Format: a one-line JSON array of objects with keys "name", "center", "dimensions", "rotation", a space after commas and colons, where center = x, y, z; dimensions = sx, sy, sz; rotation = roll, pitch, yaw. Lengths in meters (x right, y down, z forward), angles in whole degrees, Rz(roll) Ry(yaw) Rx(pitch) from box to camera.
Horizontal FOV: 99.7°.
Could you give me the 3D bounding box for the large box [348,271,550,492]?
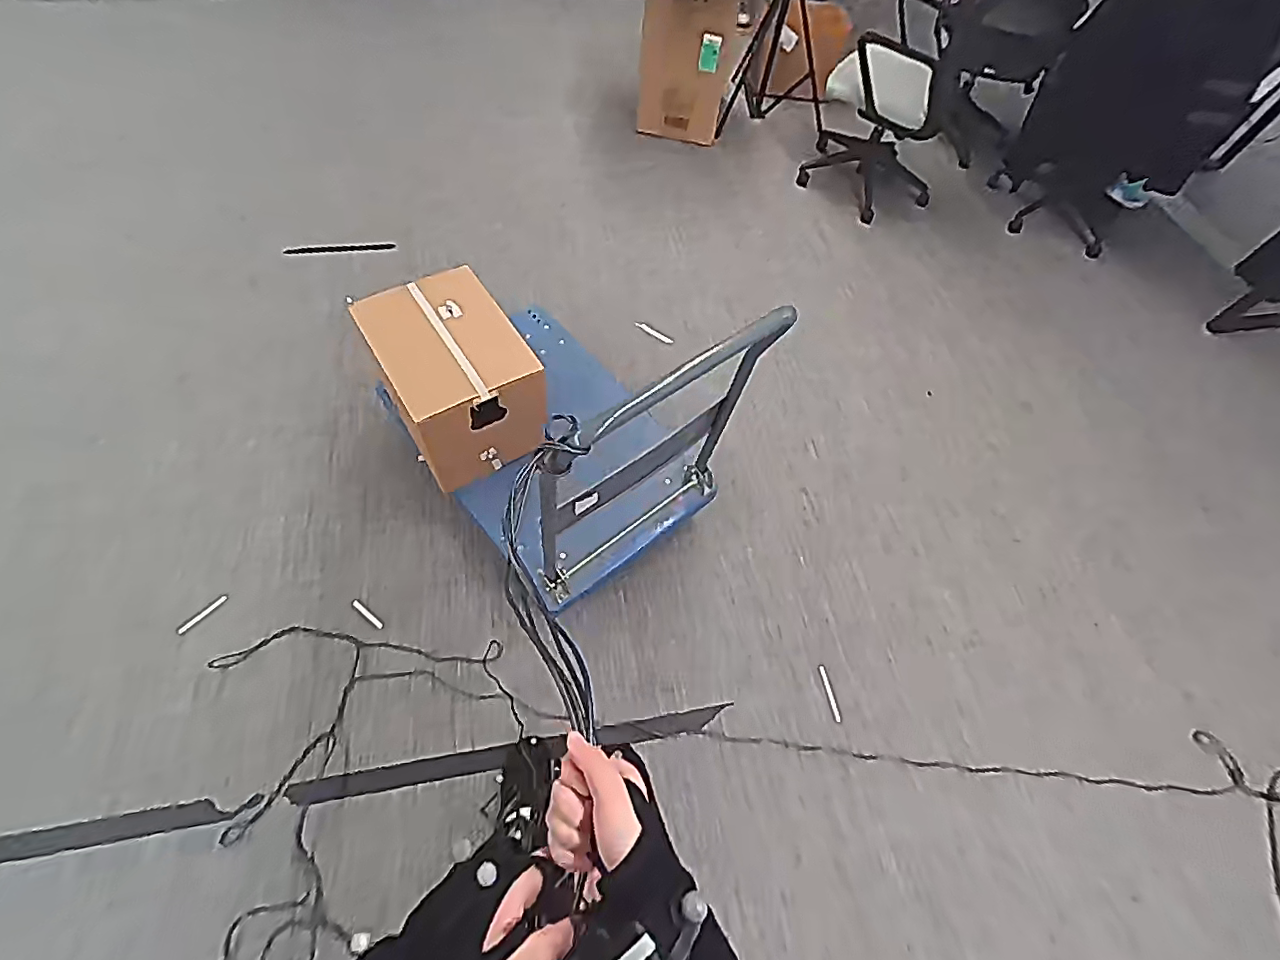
[{"name": "large box", "center": [-0.468, -0.249, 1.387], "dimensions": [0.320, 0.320, 0.408], "rotation": [-28, 66, -22]}]
